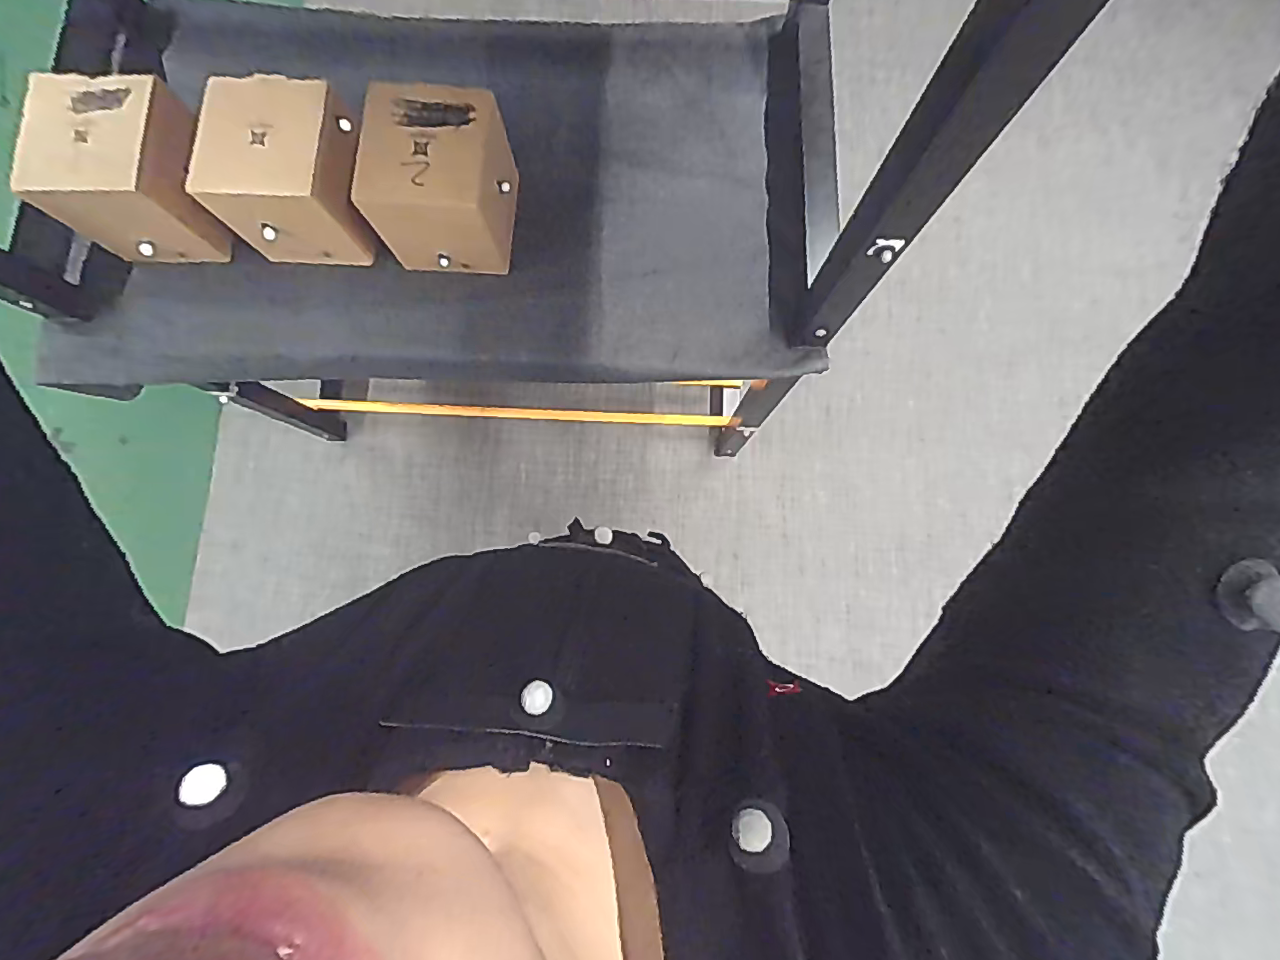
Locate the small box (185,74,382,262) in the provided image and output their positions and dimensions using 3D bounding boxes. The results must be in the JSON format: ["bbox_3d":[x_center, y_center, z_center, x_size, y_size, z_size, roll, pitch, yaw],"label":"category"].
[{"bbox_3d":[-0.498,-0.438,0.783,0.168,0.176,0.179,2,80,0],"label":"small box"}]

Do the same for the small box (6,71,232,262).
[{"bbox_3d":[-0.724,-0.442,0.781,0.168,0.176,0.179,0,81,0],"label":"small box"}]
